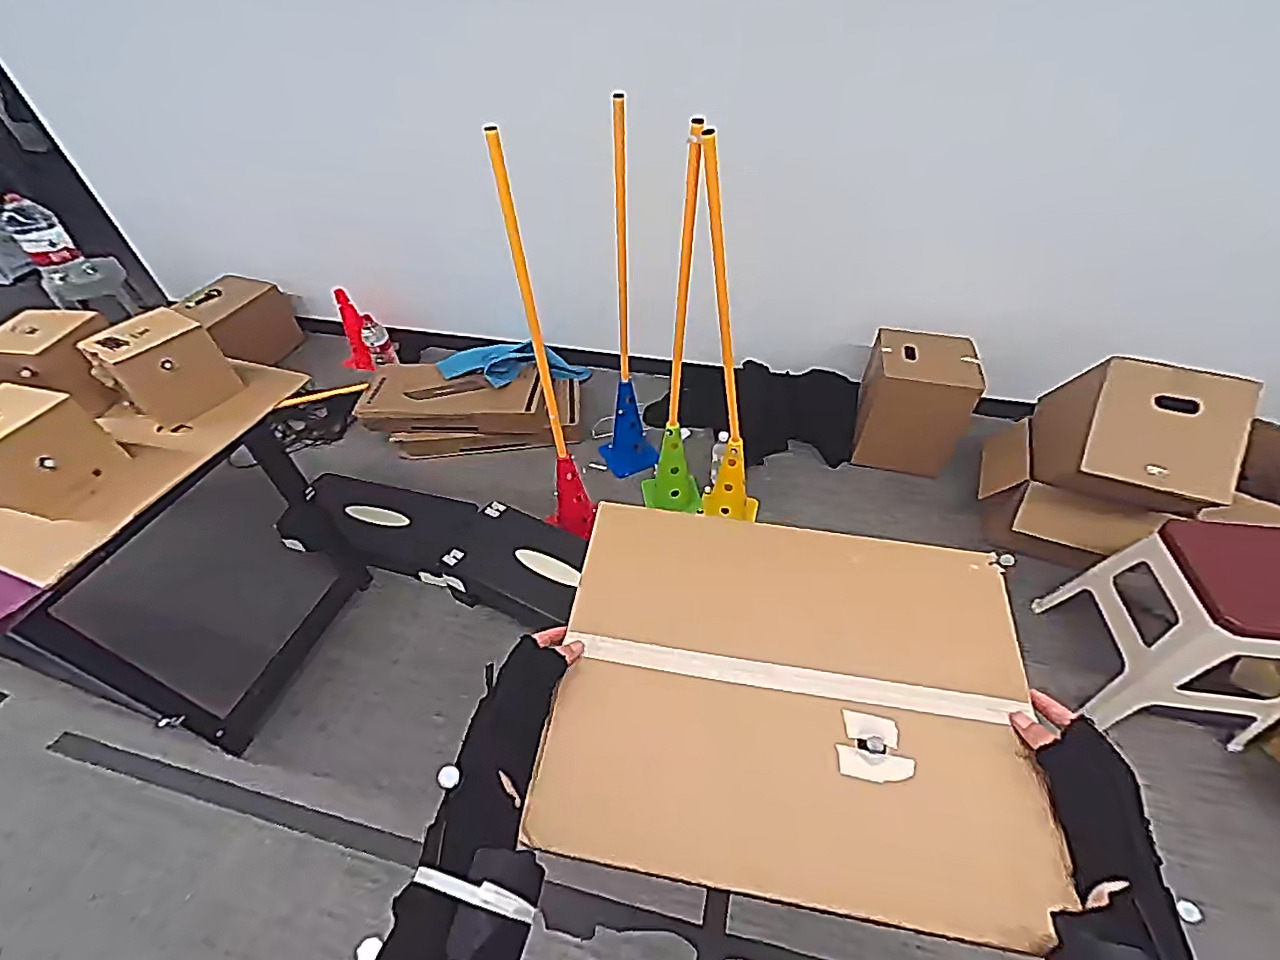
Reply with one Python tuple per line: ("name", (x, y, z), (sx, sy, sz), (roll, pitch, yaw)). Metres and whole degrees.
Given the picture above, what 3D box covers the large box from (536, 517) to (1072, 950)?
("large box", (0.134, 0.272, 0.605), (0.408, 0.320, 0.320), (8, 56, 6))
